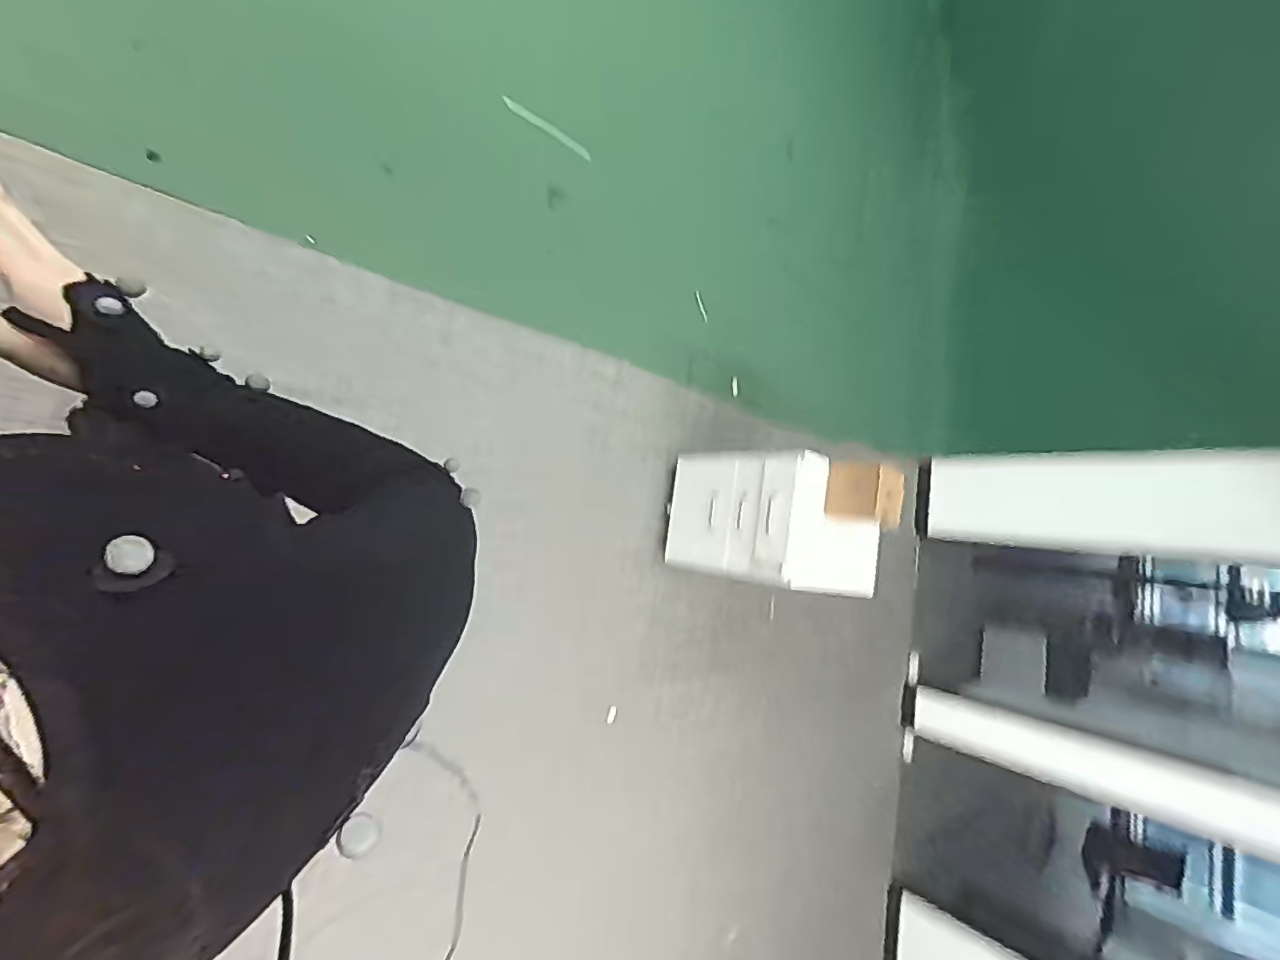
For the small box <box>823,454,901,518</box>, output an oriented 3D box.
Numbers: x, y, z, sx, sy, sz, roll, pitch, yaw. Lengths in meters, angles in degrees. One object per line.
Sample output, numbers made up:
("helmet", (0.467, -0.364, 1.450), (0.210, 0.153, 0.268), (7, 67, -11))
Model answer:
("small box", (0.694, 0.019, 1.696), (0.168, 0.176, 0.179), (12, 85, -39))
